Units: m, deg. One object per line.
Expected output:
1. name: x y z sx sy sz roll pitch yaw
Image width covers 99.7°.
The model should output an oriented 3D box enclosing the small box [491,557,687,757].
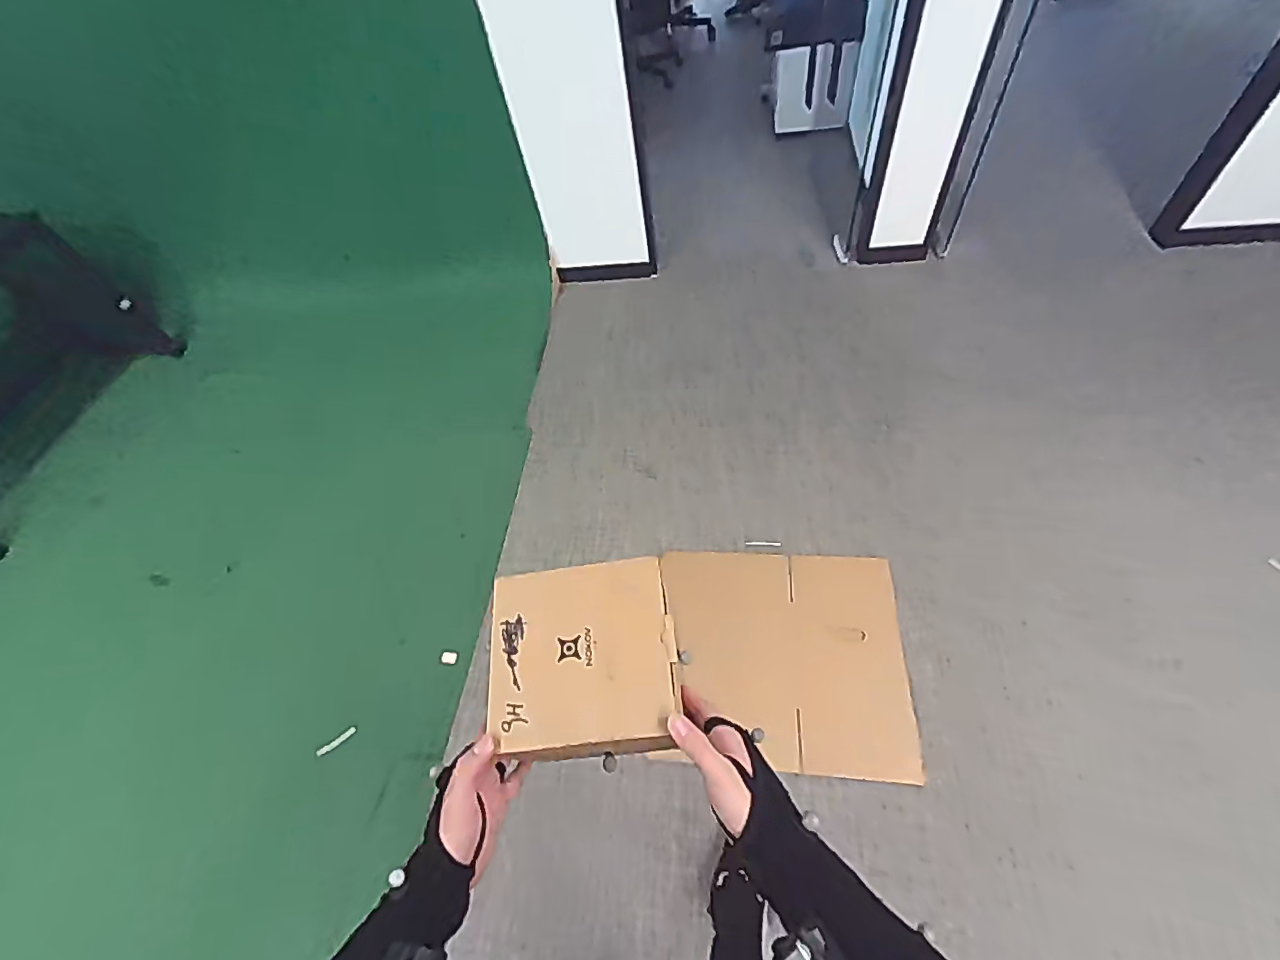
1. small box: -0.043 0.197 0.582 0.179 0.176 0.168 -7 59 4
